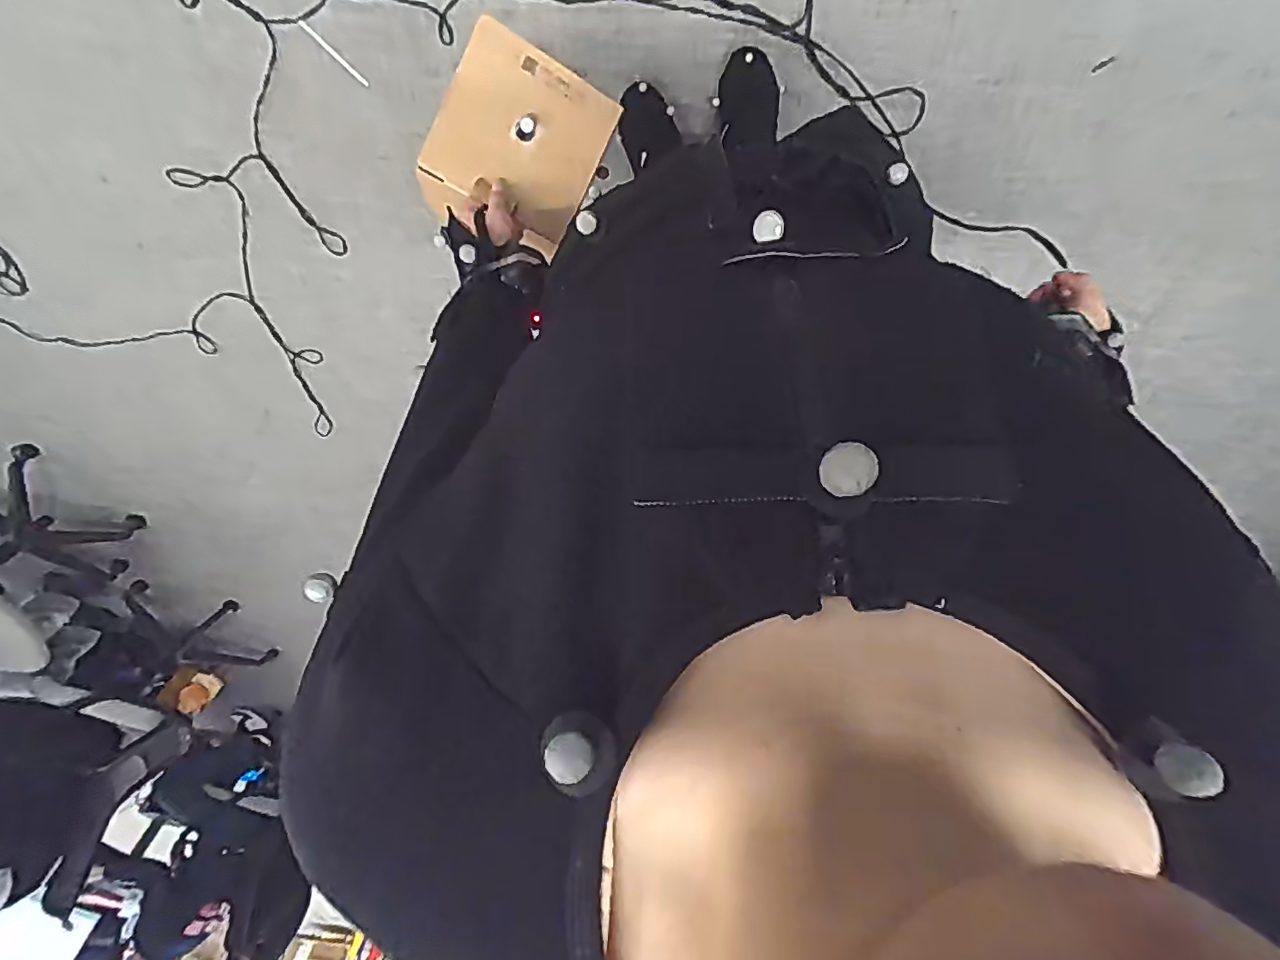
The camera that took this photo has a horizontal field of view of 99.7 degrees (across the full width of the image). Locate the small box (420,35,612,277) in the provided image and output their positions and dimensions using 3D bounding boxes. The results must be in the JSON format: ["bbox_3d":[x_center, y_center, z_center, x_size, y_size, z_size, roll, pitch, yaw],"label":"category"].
[{"bbox_3d":[-0.149,-0.377,0.659,0.168,0.179,0.176,23,94,-18],"label":"small box"}]
